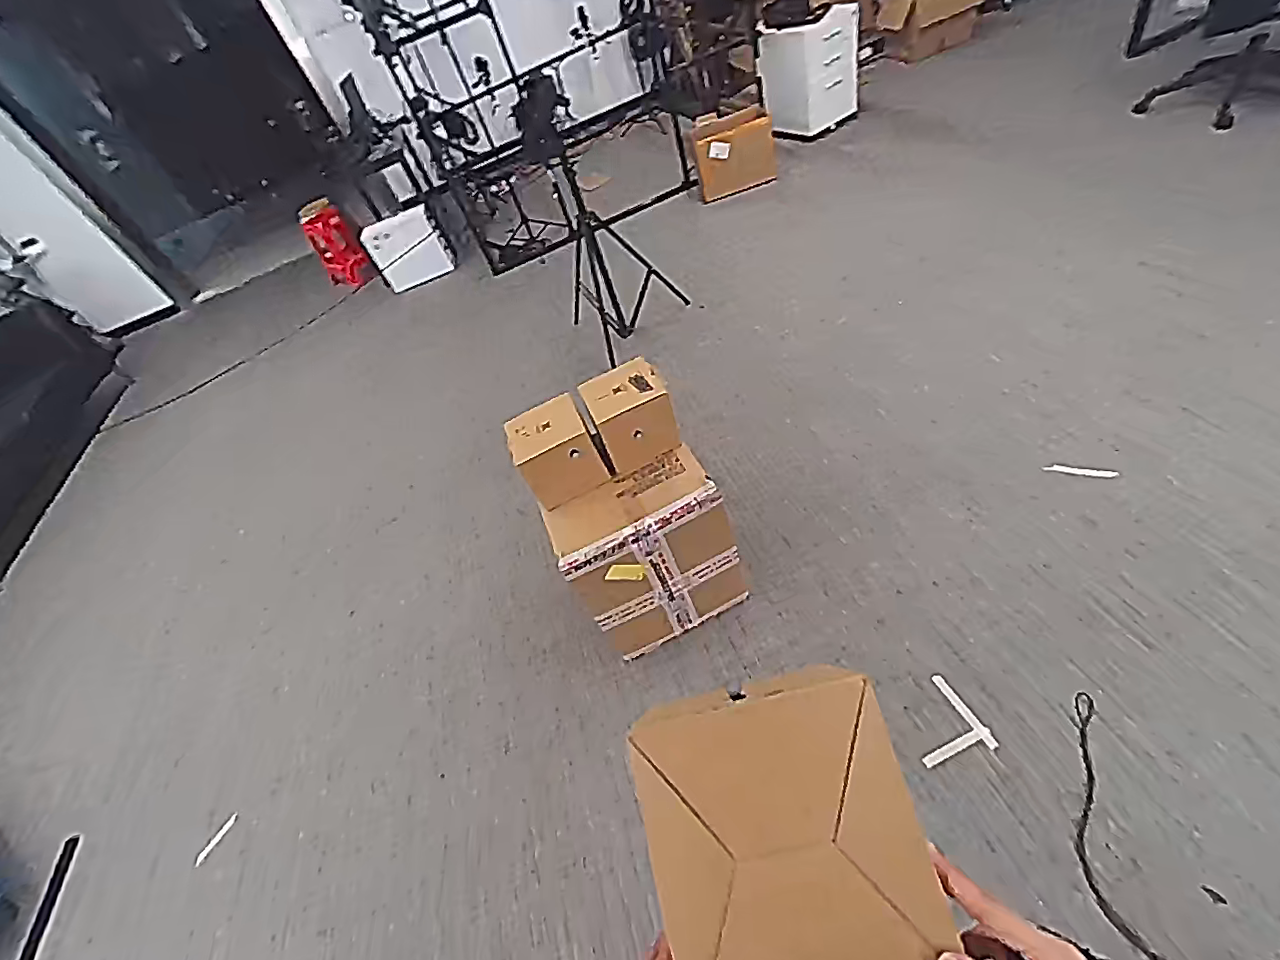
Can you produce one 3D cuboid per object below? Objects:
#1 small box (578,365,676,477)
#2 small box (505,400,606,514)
[{"bbox_3d":[-0.025,-0.140,1.302,0.179,0.176,0.168,-26,46,-3],"label":"small box"},{"bbox_3d":[-0.194,-0.053,1.289,0.179,0.176,0.168,-27,45,0],"label":"small box"}]
